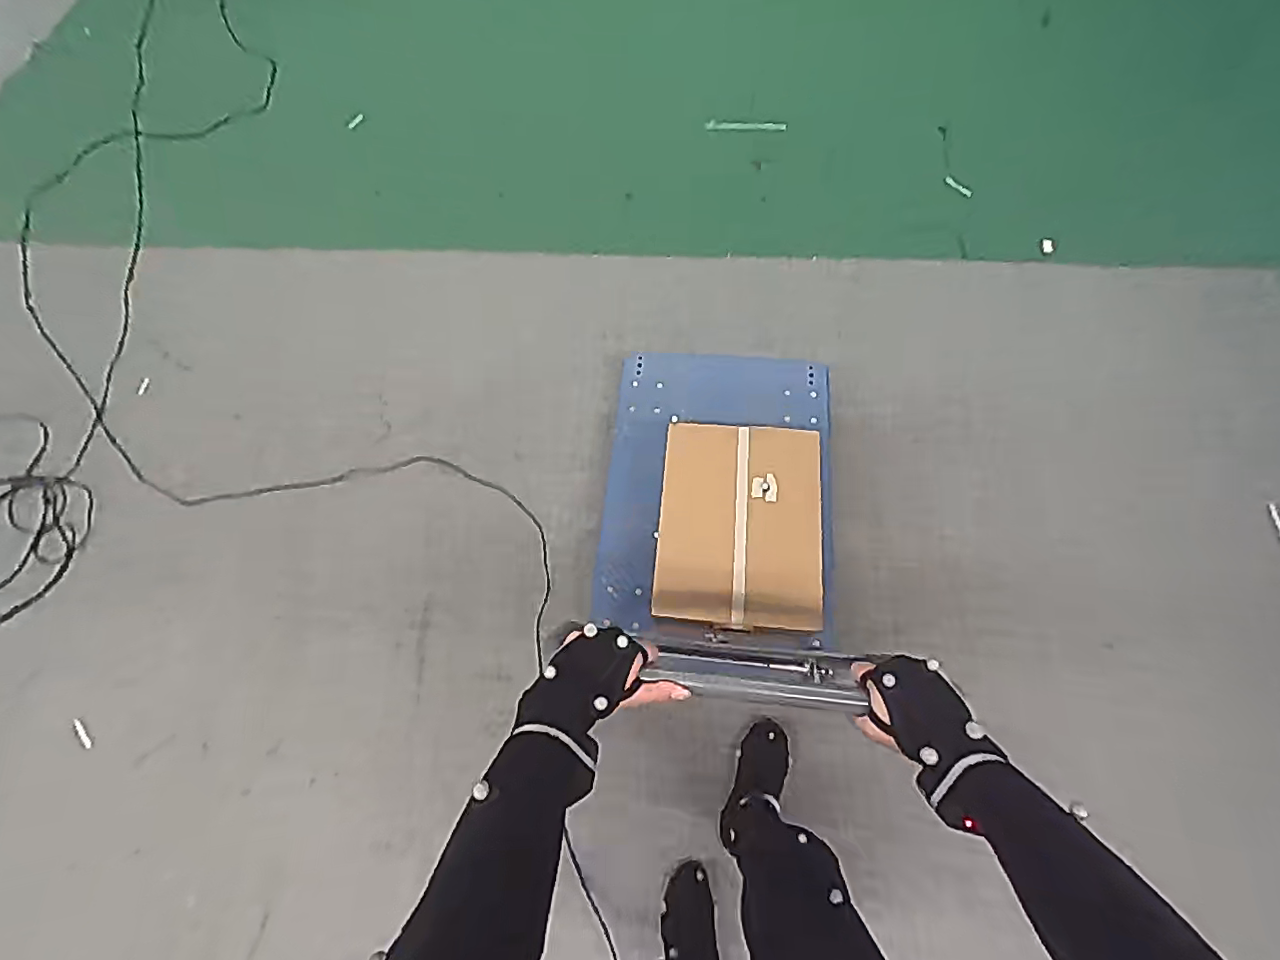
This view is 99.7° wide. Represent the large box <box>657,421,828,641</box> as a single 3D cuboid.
[{"bbox_3d":[0.210,0.125,1.189,0.320,0.320,0.408,4,68,5],"label":"large box"}]
